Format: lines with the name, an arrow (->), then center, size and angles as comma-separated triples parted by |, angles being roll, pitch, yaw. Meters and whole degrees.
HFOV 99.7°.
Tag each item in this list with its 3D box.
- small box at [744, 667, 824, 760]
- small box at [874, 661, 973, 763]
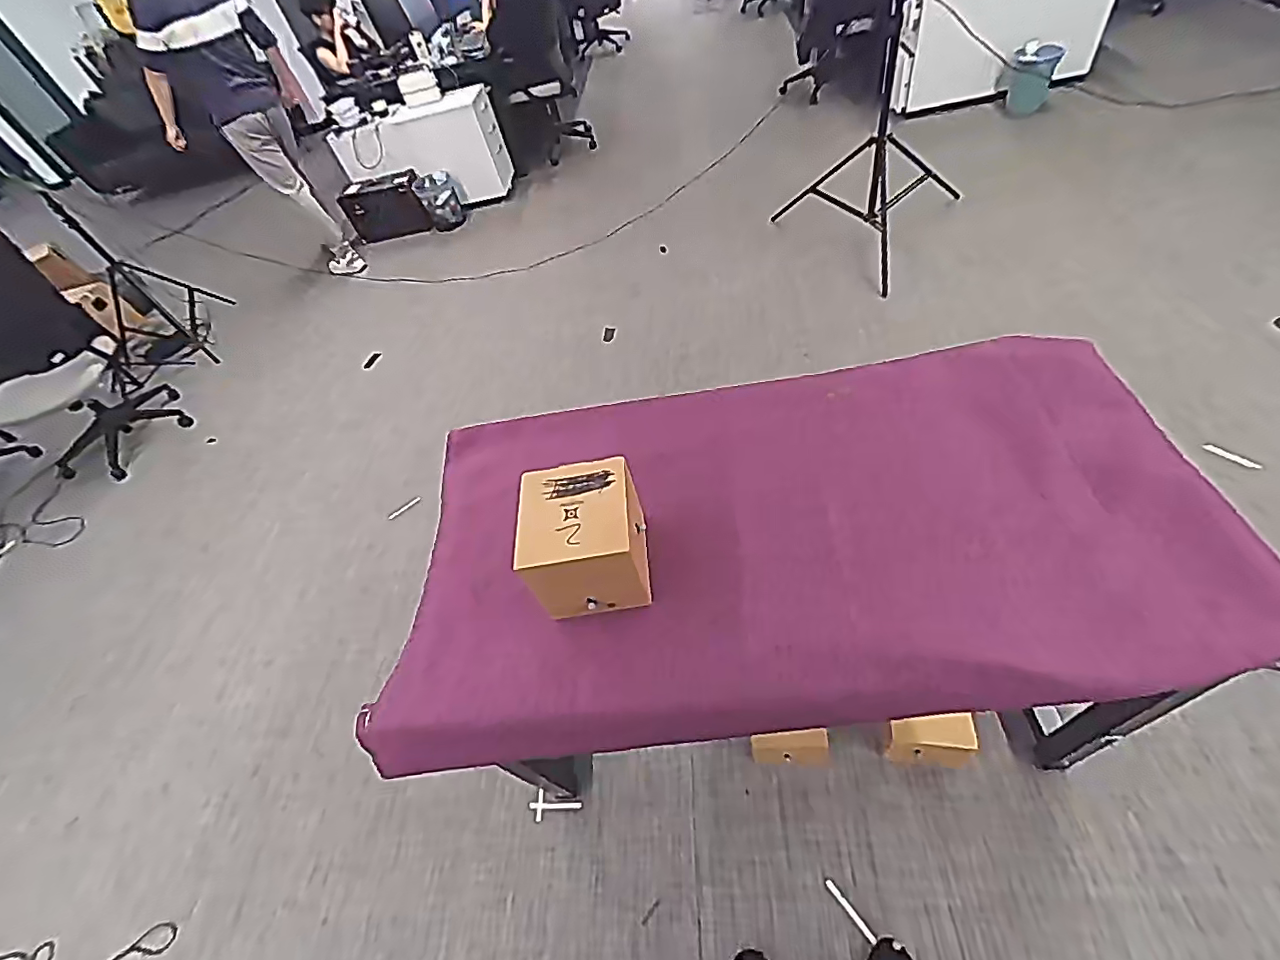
small box -> 0.346, 0.569, 1.310 | 0.168, 0.176, 0.179 | -5, 50, 10
small box -> 0.649, 0.542, 1.257 | 0.168, 0.176, 0.179 | 0, 51, 15
